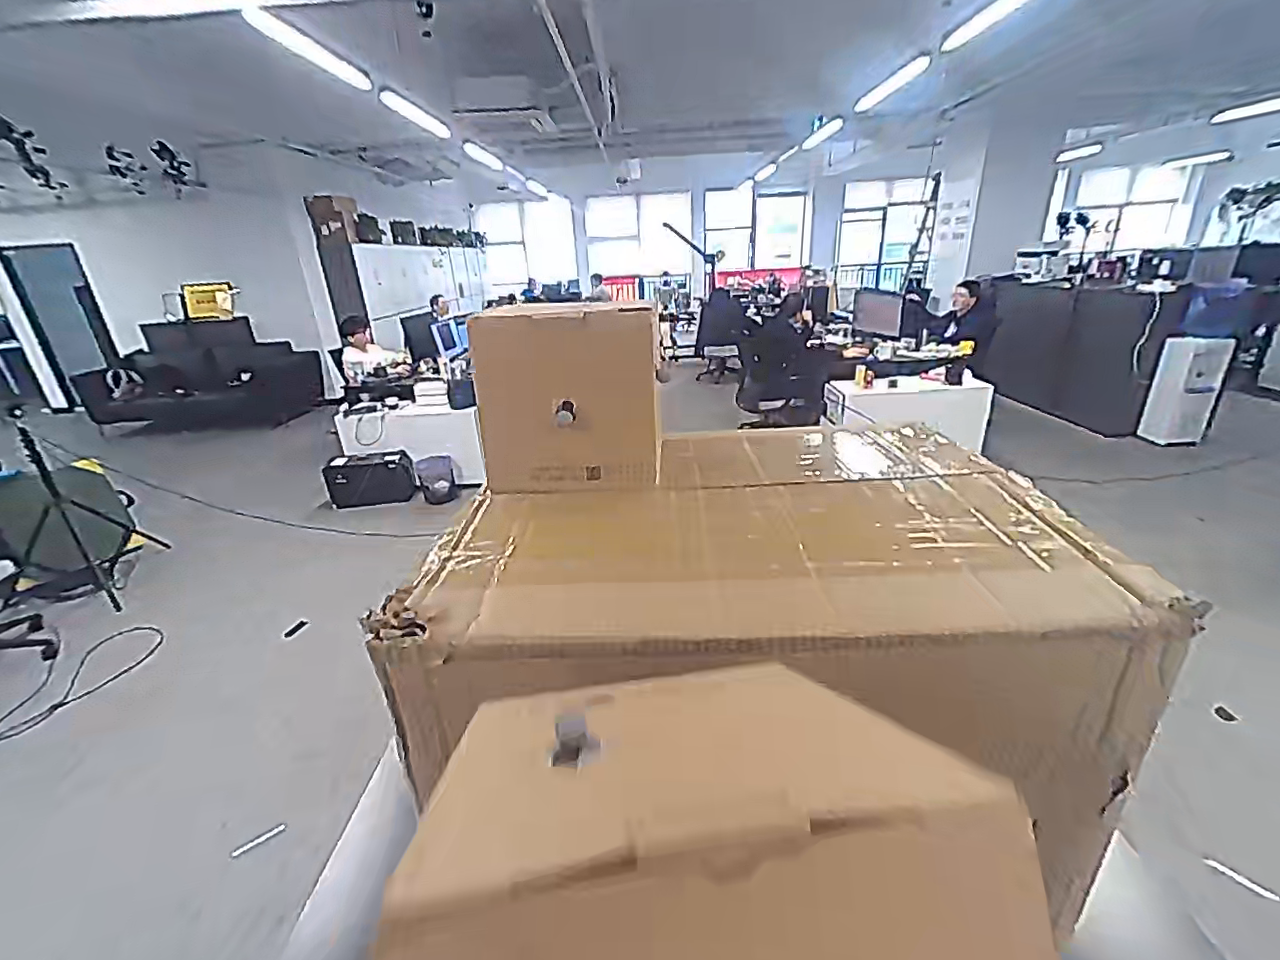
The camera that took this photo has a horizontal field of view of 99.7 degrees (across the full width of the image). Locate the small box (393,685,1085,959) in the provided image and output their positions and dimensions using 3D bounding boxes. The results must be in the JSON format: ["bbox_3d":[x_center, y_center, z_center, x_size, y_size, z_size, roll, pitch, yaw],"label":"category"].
[{"bbox_3d":[0.021,0.183,0.194,0.168,0.179,0.176,-4,-6,-9],"label":"small box"}]

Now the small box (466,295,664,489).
[{"bbox_3d":[-0.061,-0.095,0.563,0.168,0.176,0.179,-1,21,3],"label":"small box"}]
